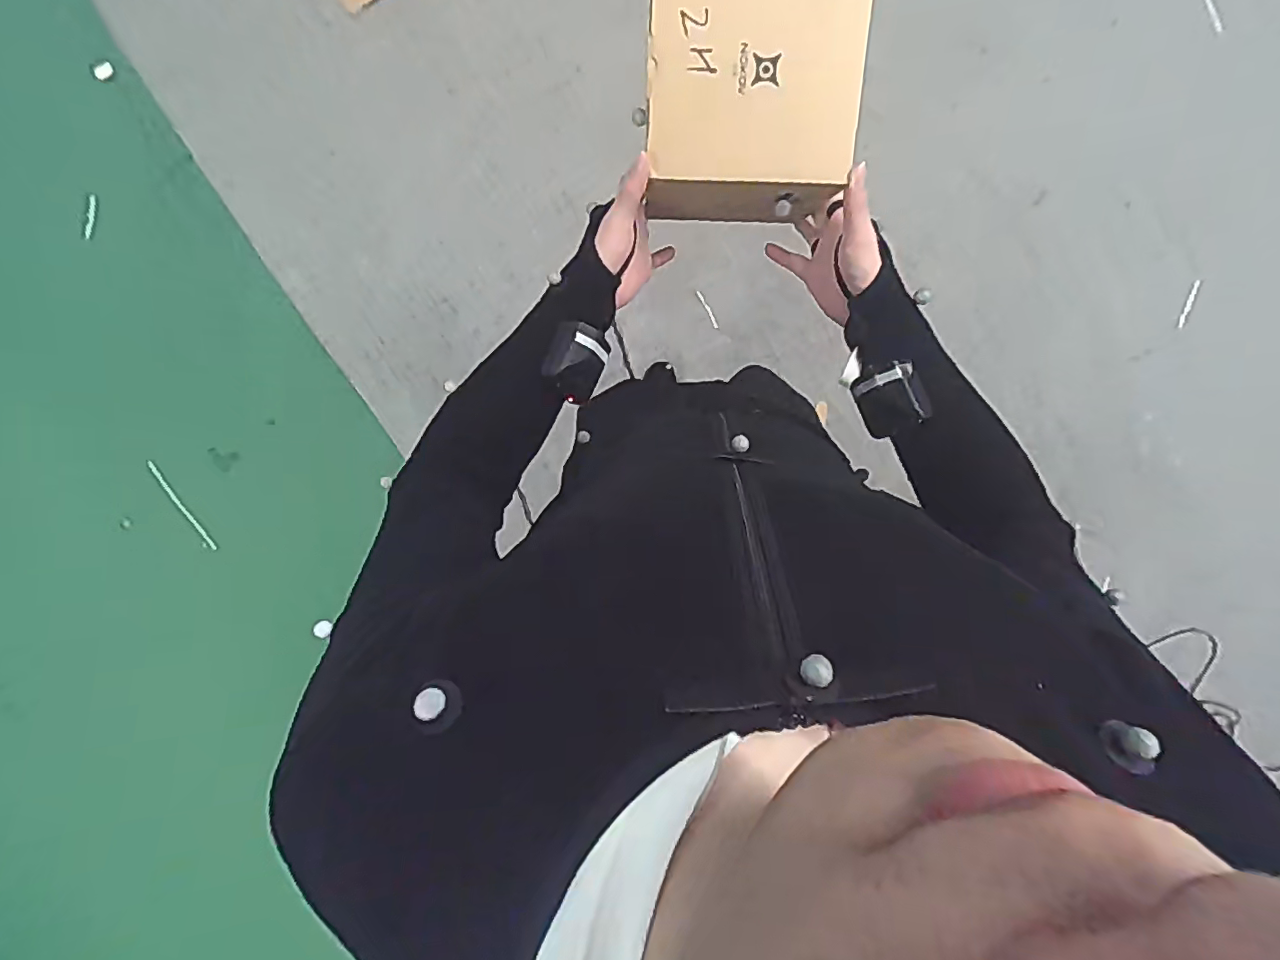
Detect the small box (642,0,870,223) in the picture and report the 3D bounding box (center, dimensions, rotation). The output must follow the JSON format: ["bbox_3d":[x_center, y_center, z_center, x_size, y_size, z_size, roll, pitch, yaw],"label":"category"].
[{"bbox_3d":[0.092,-0.350,0.511,0.179,0.176,0.168,1,105,1],"label":"small box"}]
